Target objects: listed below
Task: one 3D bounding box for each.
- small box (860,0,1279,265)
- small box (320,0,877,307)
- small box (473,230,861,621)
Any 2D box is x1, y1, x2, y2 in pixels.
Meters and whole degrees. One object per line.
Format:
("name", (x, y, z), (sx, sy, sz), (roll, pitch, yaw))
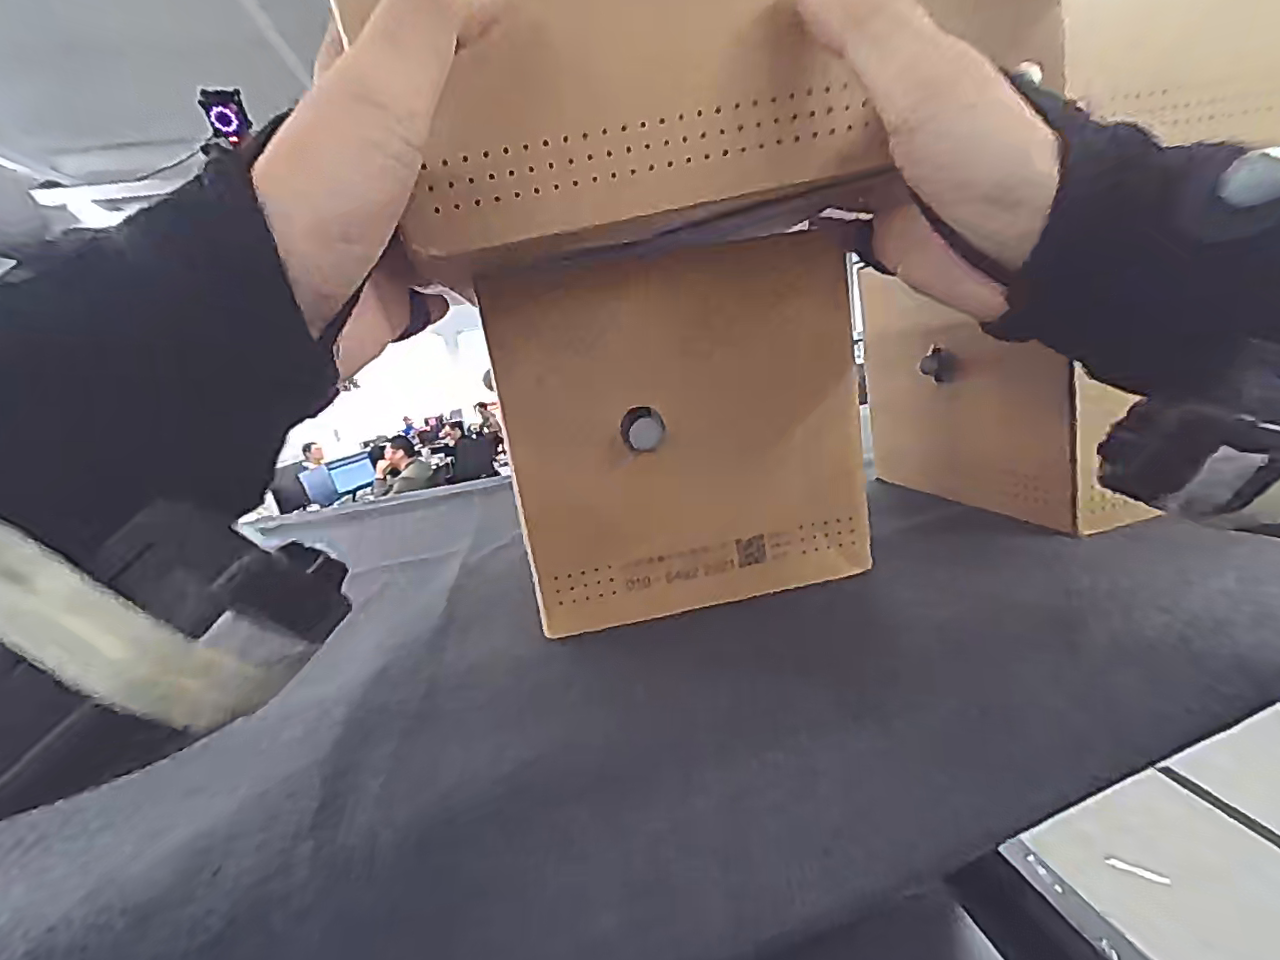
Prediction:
("small box", (0.241, -0.234, 0.310), (0.179, 0.176, 0.168), (-12, 10, -7))
("small box", (-0.020, -0.180, 0.233), (0.179, 0.176, 0.168), (-16, 15, -5))
("small box", (0.013, -0.029, 0.327), (0.168, 0.176, 0.179), (-11, 11, -6))
